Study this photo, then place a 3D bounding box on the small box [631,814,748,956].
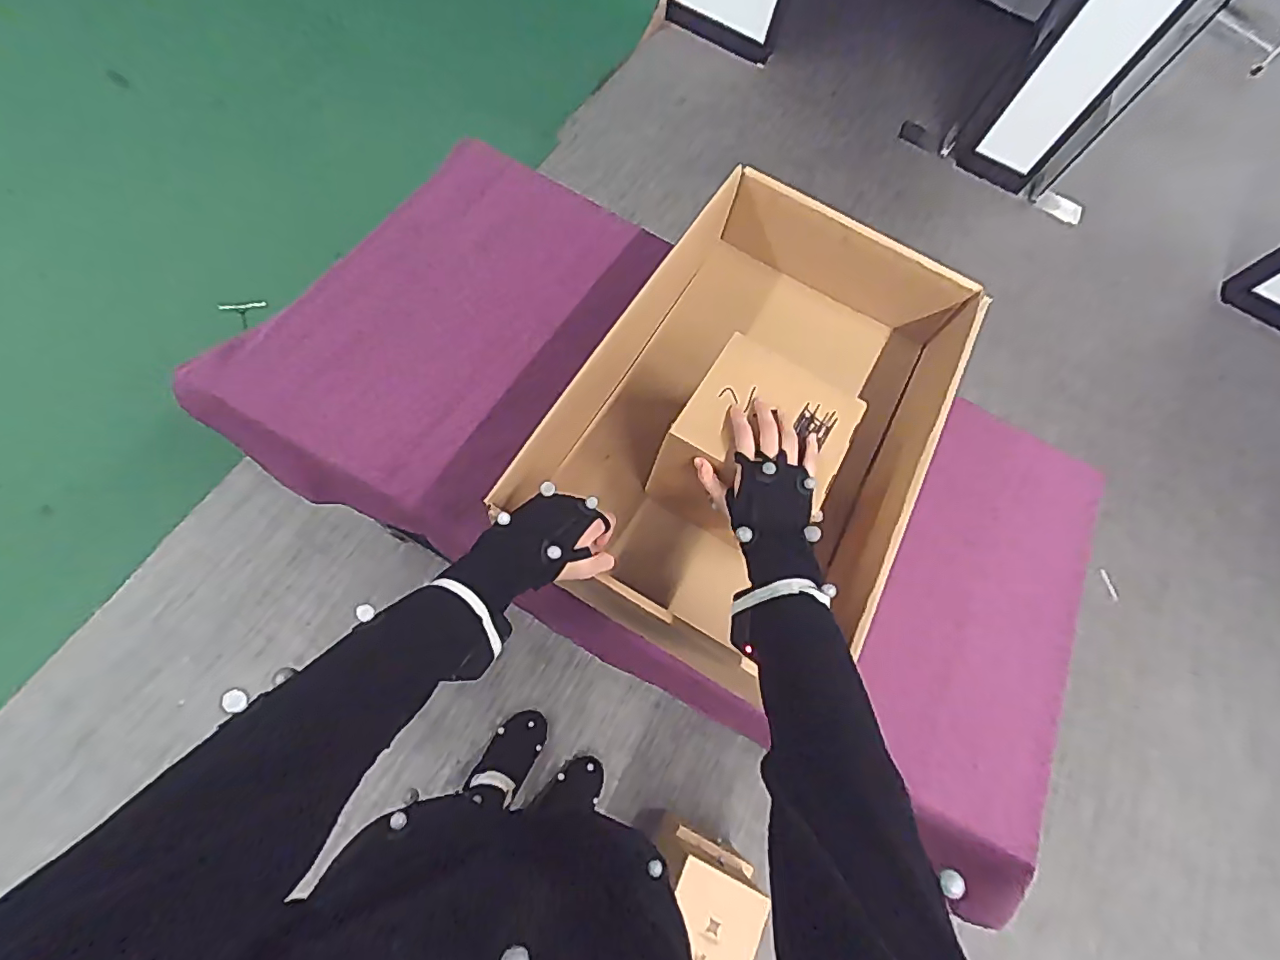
[{"bbox_3d":[0.099,0.847,1.155,0.179,0.176,0.168,28,67,4],"label":"small box"}]
